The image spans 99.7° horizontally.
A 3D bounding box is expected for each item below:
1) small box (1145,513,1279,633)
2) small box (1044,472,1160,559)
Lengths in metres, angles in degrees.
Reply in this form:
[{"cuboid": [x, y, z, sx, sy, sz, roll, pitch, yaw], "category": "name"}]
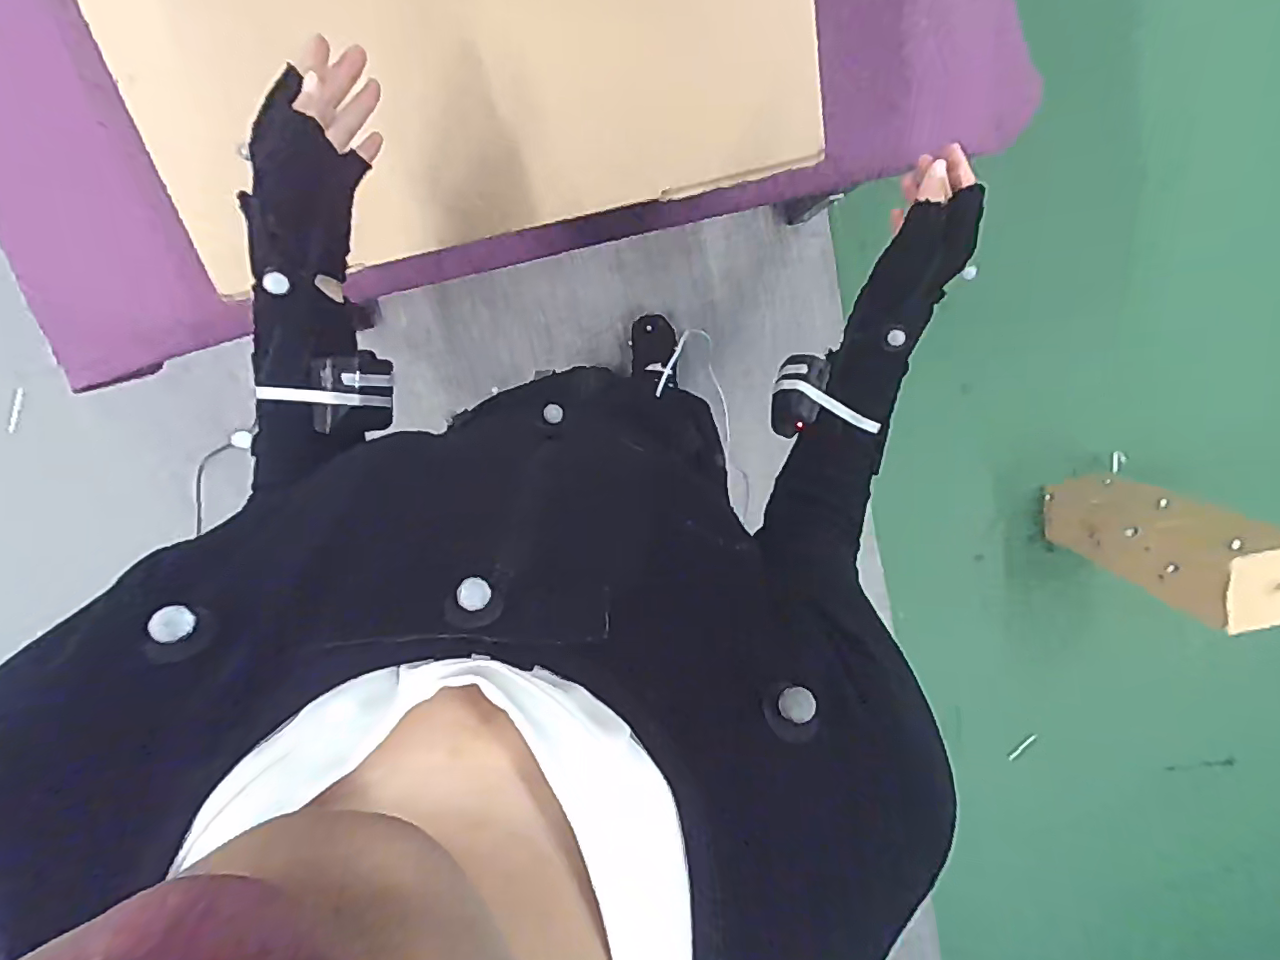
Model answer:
[{"cuboid": [1.202, 0.182, 1.109, 0.179, 0.176, 0.168, -14, 106, 5], "category": "small box"}, {"cuboid": [1.203, 0.088, 1.423, 0.179, 0.176, 0.168, -12, 106, 4], "category": "small box"}]
